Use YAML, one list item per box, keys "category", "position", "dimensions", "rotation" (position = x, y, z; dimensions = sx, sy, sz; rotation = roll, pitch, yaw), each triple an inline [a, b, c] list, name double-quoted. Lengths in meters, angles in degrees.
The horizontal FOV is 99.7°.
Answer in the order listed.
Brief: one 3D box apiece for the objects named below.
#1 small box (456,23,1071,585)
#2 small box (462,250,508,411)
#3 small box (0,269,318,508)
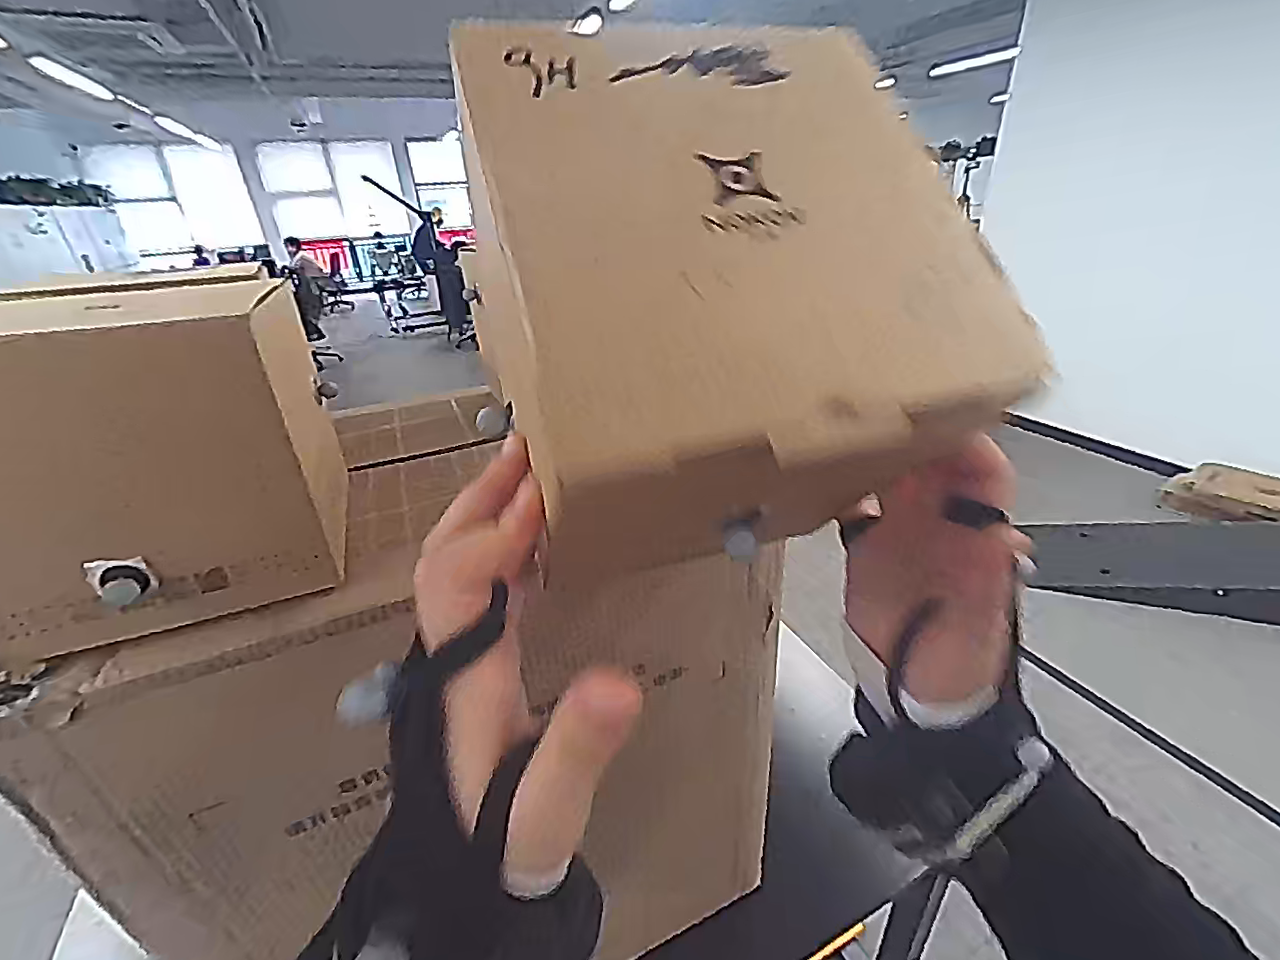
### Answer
- category: "small box"
  position: [0.024, -0.056, 0.246]
  dimensions: [0.168, 0.179, 0.176]
  rotation: [-11, -16, -14]
- category: "small box"
  position: [-0.086, -0.171, 0.602]
  dimensions: [0.168, 0.176, 0.179]
  rotation: [-17, 28, -20]
- category: "small box"
  position: [-0.411, -0.094, 0.495]
  dimensions: [0.168, 0.176, 0.179]
  rotation: [-17, 30, -26]
